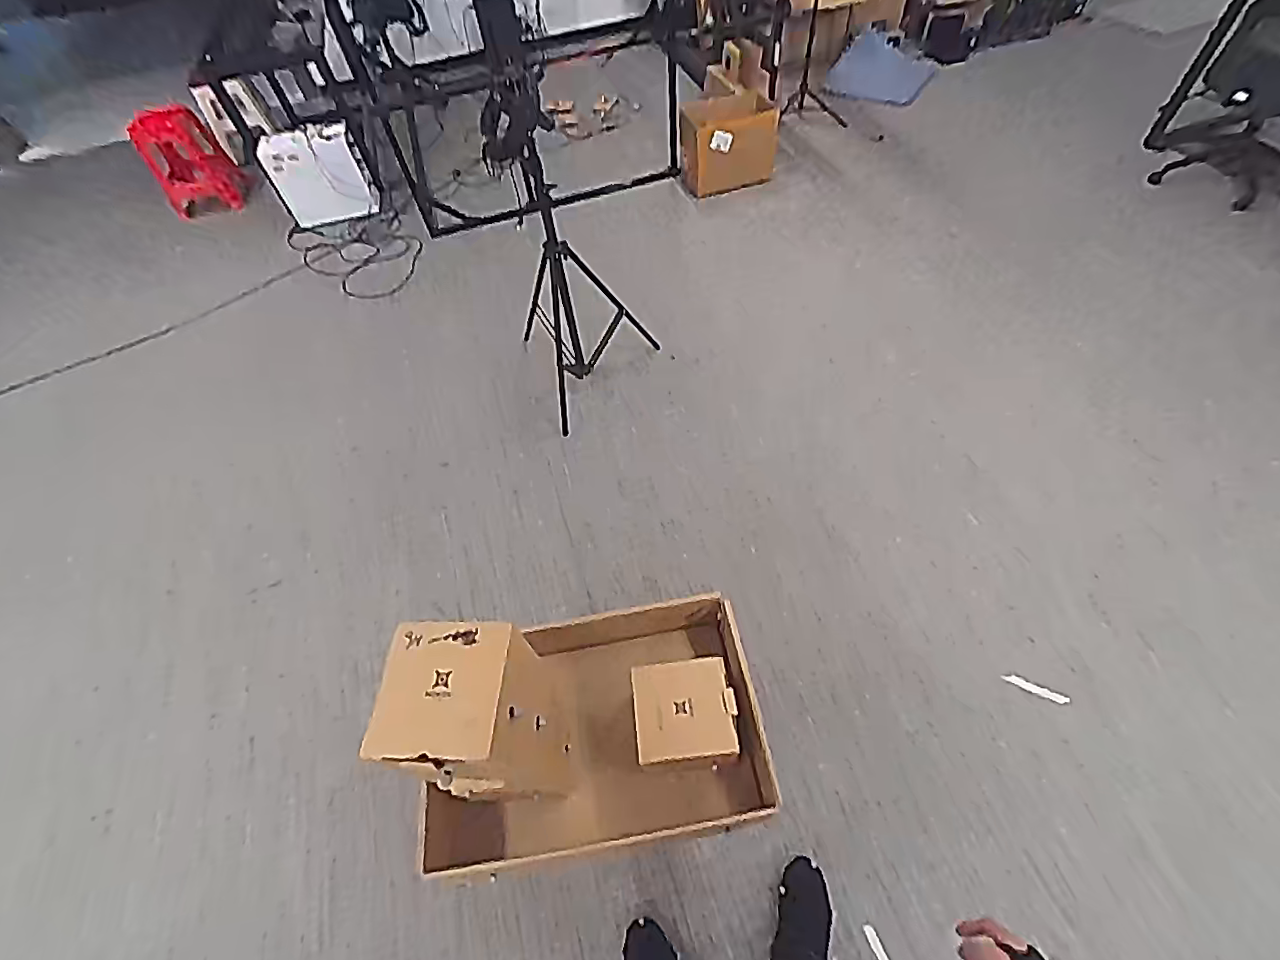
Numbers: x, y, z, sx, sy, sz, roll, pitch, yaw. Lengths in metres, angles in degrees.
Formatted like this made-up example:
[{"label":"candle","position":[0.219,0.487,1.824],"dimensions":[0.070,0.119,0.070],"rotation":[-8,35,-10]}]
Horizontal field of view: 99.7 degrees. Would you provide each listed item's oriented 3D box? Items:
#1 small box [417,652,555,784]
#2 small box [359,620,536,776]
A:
[{"label":"small box","position":[-0.243,0.402,0.902],"dimensions":[0.168,0.176,0.179],"rotation":[-4,54,3]},{"label":"small box","position":[-0.254,0.312,0.765],"dimensions":[0.168,0.176,0.179],"rotation":[-1,55,5]}]
